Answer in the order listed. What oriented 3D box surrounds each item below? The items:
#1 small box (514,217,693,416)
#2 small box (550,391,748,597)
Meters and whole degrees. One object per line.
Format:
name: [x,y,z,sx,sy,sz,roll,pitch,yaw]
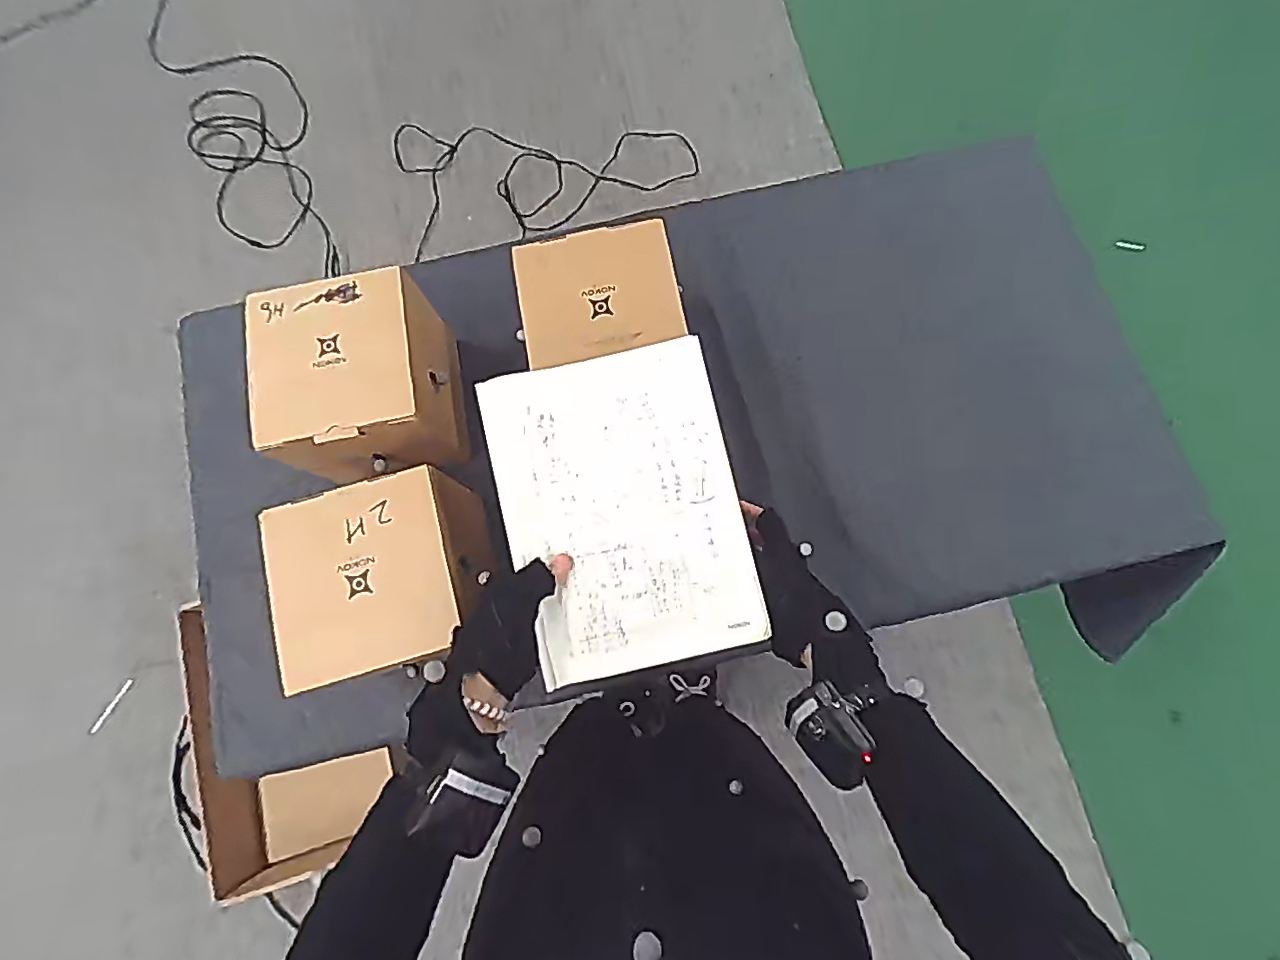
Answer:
small box: [-0.038,-0.167,0.634,0.168,0.176,0.179,-11,78,0]
small box: [0.007,0.026,0.586,0.168,0.176,0.179,-11,77,0]
